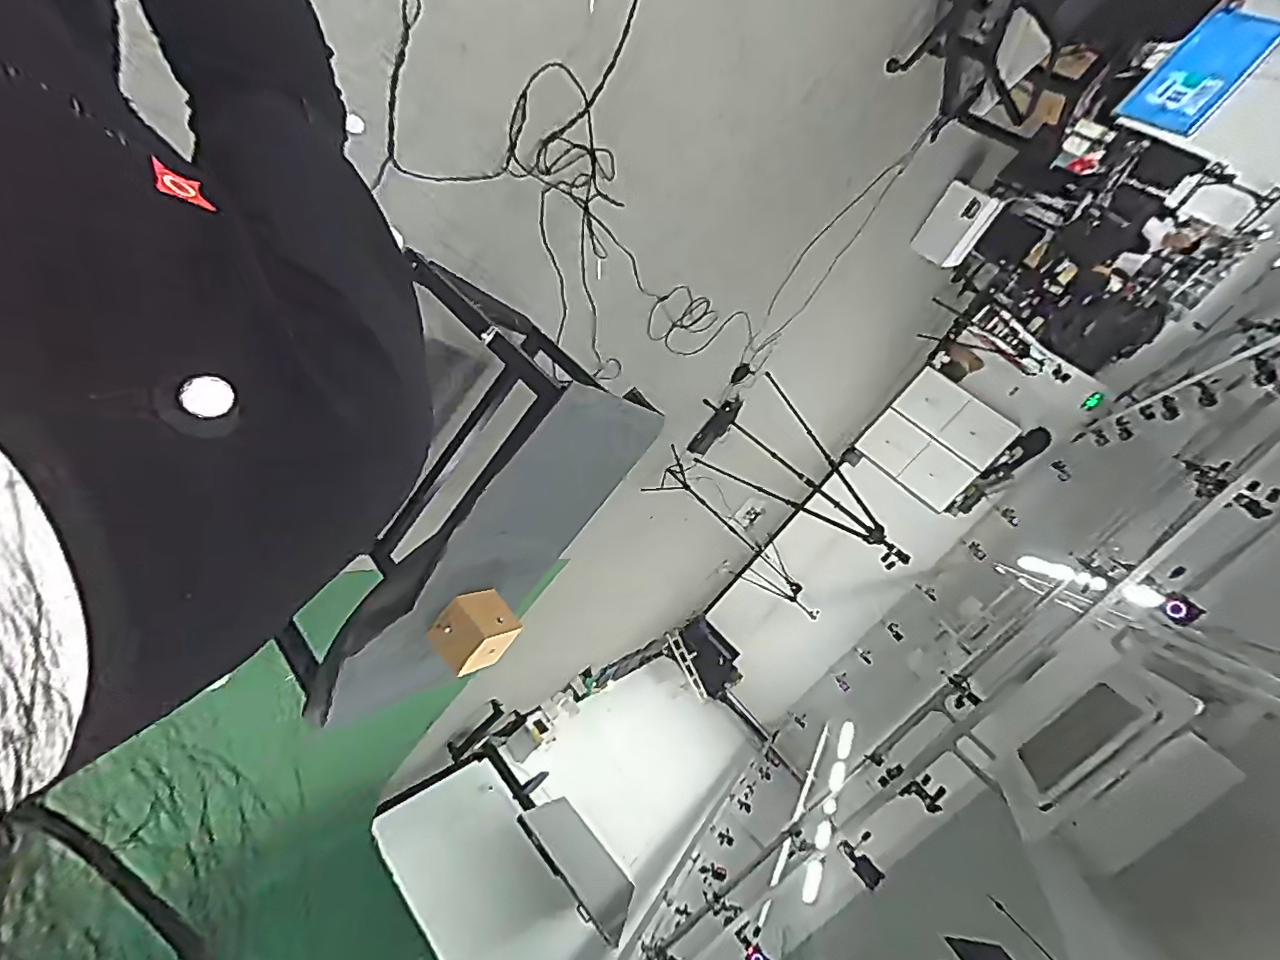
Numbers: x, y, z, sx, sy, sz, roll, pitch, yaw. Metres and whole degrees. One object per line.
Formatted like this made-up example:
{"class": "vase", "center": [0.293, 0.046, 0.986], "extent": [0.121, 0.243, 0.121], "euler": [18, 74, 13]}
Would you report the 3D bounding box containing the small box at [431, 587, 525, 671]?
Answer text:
{"class": "small box", "center": [-0.495, 0.444, 1.651], "extent": [0.168, 0.176, 0.179], "euler": [-52, 158, 14]}
